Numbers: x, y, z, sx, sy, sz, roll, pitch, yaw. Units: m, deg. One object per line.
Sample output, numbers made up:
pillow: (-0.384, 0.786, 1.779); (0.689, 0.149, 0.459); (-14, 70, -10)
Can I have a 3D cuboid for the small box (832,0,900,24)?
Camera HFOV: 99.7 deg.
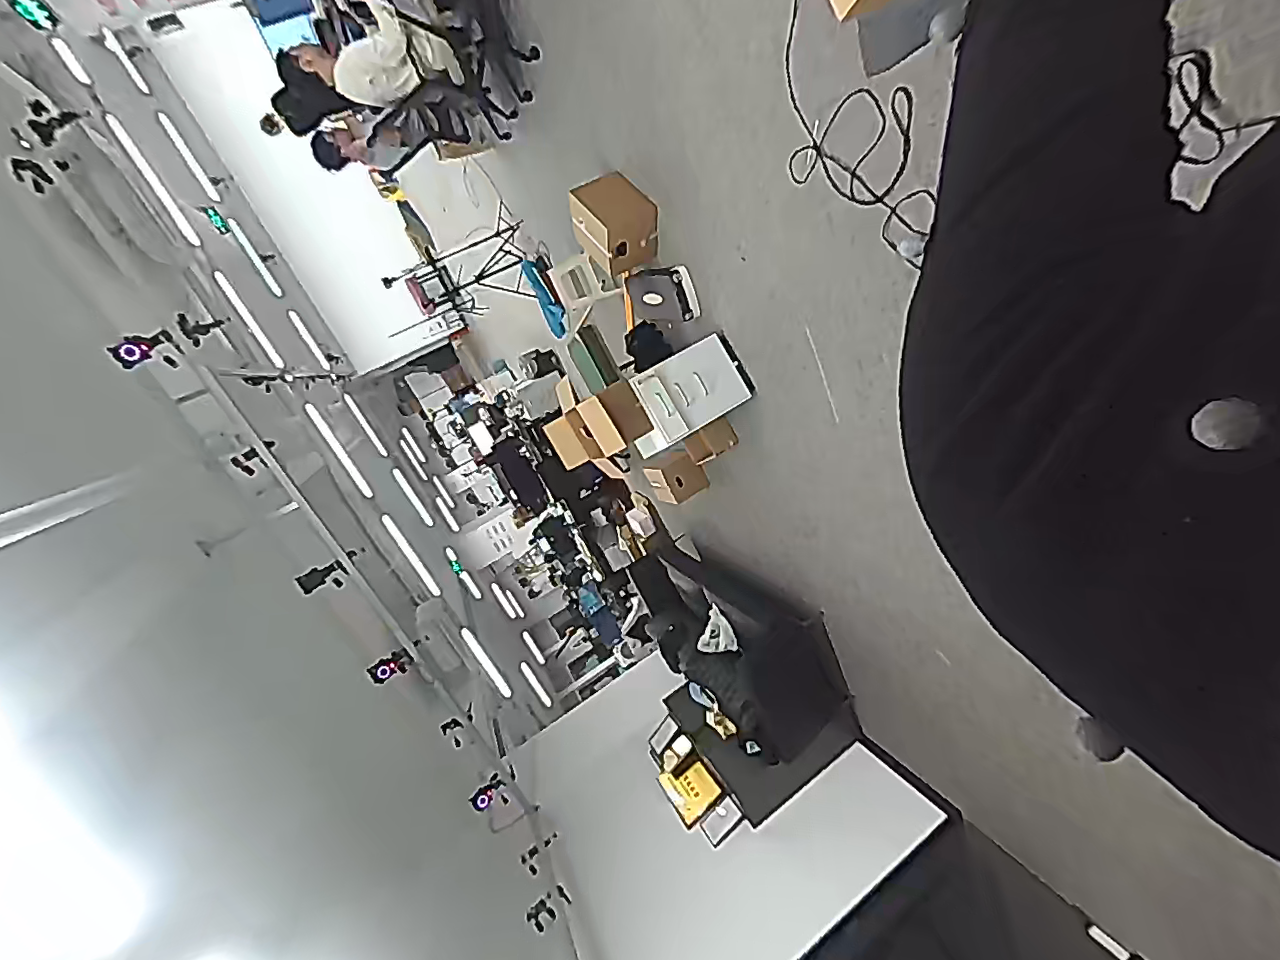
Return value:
small box: (0.282, -0.623, 0.536); (0.168, 0.176, 0.179); (61, 166, -9)
